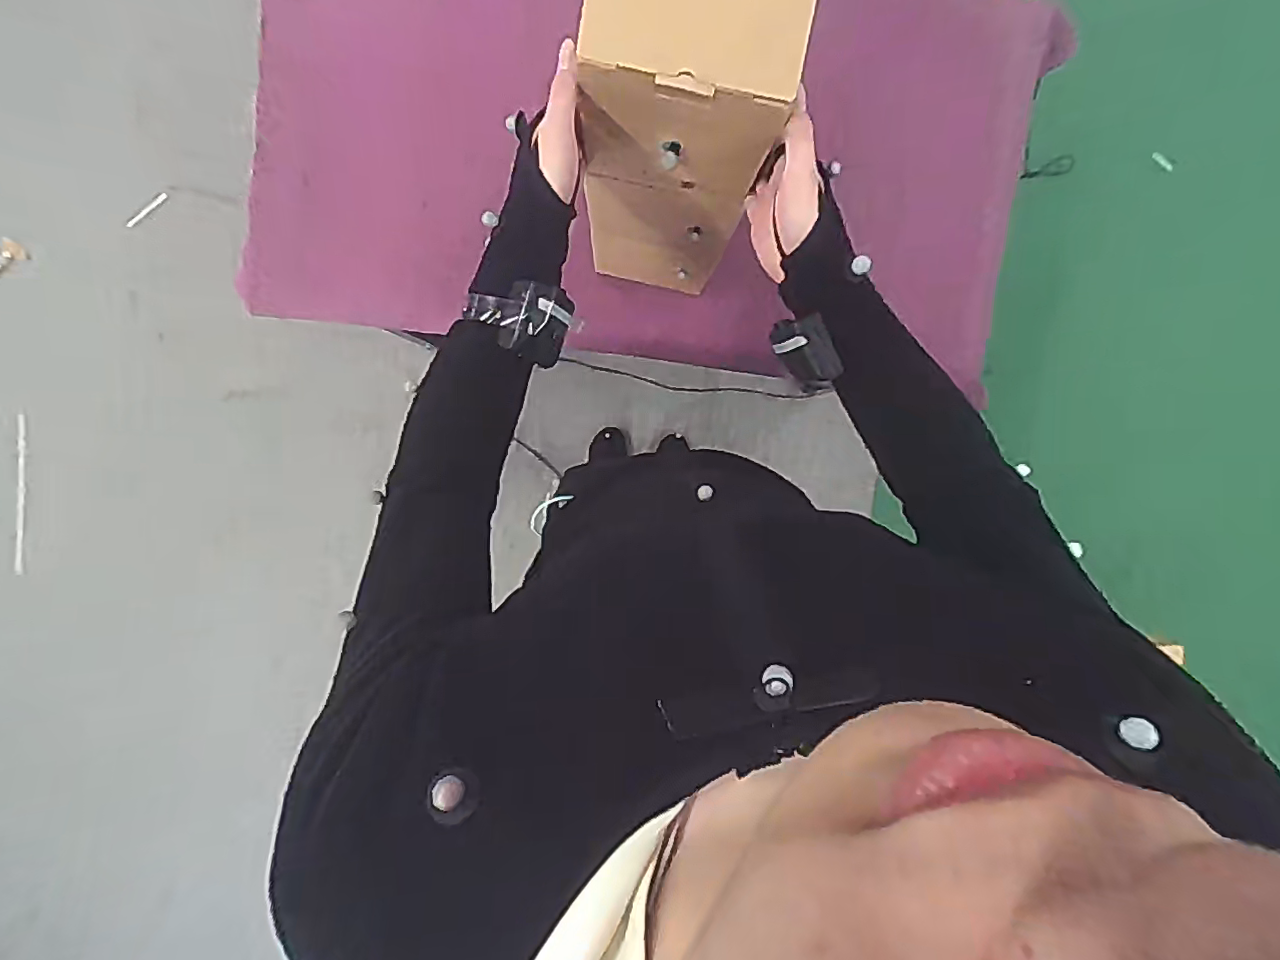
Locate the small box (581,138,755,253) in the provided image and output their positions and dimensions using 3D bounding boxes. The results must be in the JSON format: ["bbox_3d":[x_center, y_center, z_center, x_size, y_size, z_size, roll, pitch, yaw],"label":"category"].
[{"bbox_3d":[0.039,-0.384,0.630,0.179,0.176,0.168,12,94,-2],"label":"small box"}]

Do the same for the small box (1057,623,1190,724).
[{"bbox_3d":[1.149,0.456,1.298,0.168,0.176,0.179,4,95,-1],"label":"small box"}]

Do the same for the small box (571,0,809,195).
[{"bbox_3d":[0.044,-0.379,0.467,0.168,0.176,0.179,11,94,-3],"label":"small box"}]
